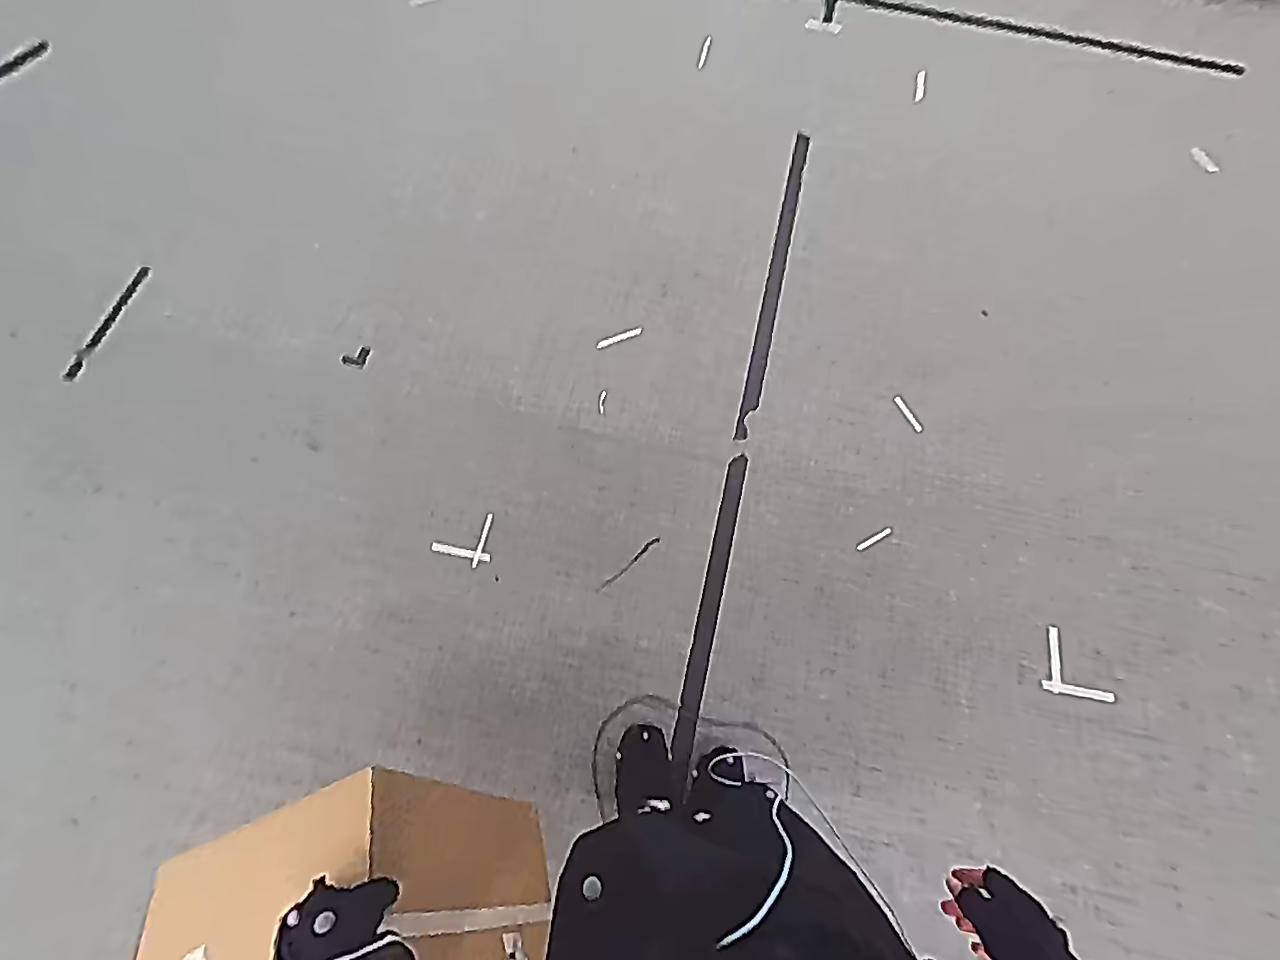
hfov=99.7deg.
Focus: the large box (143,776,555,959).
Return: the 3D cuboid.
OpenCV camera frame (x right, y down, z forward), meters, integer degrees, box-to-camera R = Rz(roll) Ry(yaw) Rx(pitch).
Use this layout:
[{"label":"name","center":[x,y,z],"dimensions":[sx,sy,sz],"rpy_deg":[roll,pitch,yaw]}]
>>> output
[{"label":"large box","center":[-0.351,0.640,0.713],"dimensions":[0.320,0.408,0.320],"rpy_deg":[-26,48,4]}]
